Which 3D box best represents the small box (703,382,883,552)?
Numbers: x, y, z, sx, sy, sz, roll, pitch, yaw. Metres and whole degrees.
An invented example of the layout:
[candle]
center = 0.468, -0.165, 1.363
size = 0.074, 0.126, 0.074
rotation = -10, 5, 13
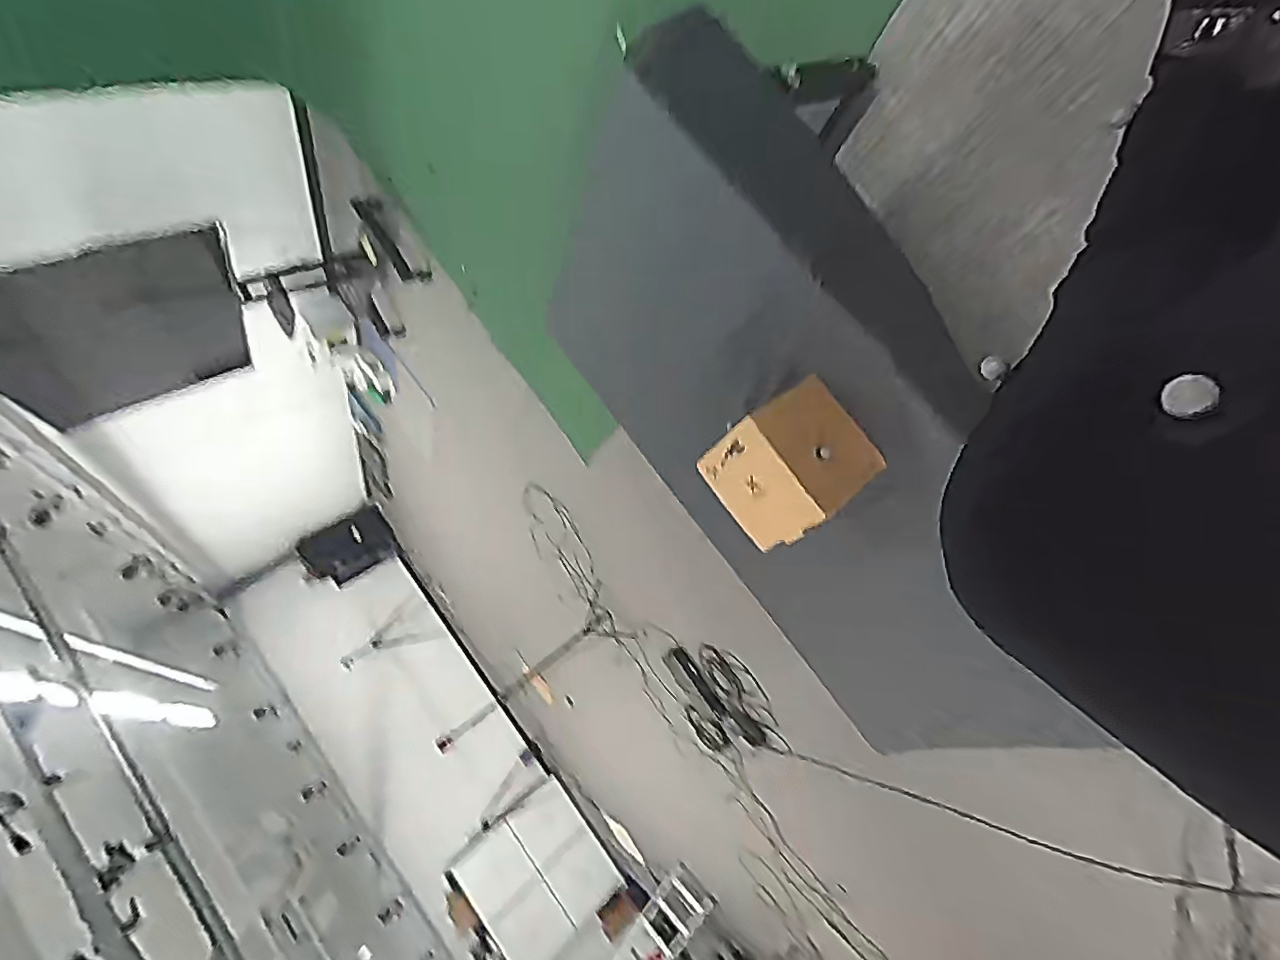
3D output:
[small box]
center = 0.238, -0.021, 0.849
size = 0.179, 0.176, 0.168
rotation = 52, 150, 10
